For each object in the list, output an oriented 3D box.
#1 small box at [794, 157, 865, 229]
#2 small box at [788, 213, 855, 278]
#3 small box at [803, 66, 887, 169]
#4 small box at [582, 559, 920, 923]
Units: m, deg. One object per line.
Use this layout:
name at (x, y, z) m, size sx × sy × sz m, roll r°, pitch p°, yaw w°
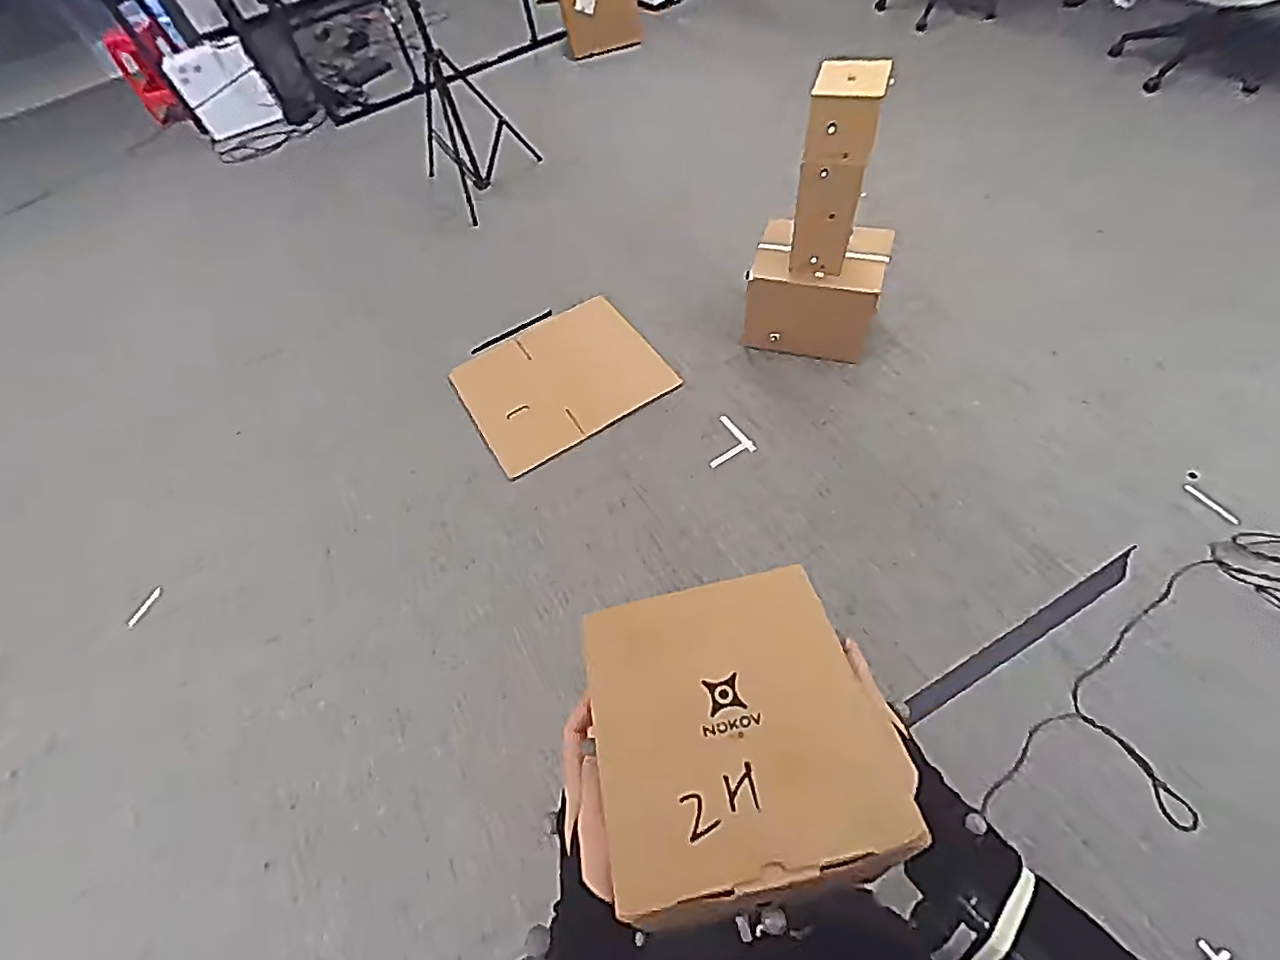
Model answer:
small box at (0.538, -0.842, 1.525) m, size 0.168 × 0.176 × 0.179 m, roll 13°, pitch 60°, yaw 16°
small box at (0.557, -0.753, 1.661) m, size 0.168 × 0.176 × 0.179 m, roll 13°, pitch 62°, yaw 16°
small box at (0.519, -0.925, 1.385) m, size 0.168 × 0.176 × 0.179 m, roll 12°, pitch 61°, yaw 16°
small box at (0.061, 0.188, 0.390) m, size 0.168 × 0.176 × 0.179 m, roll -14°, pitch 47°, yaw -1°
